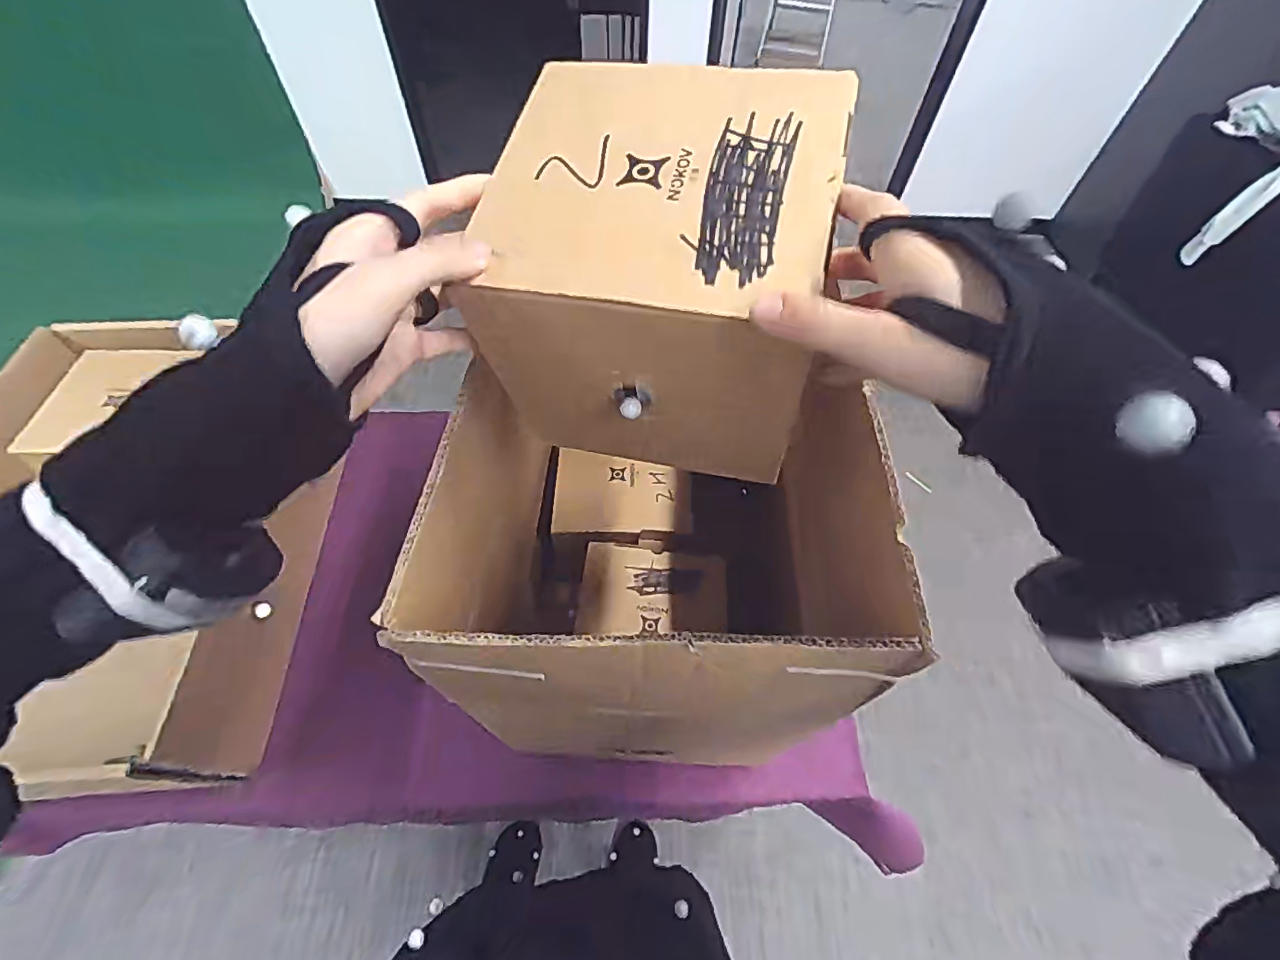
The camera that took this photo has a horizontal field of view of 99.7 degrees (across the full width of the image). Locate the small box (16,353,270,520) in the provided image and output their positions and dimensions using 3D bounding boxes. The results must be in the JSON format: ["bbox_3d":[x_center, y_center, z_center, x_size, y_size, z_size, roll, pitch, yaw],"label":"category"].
[{"bbox_3d":[-0.664,-0.055,0.756,0.168,0.176,0.179,0,56,-1],"label":"small box"}]
